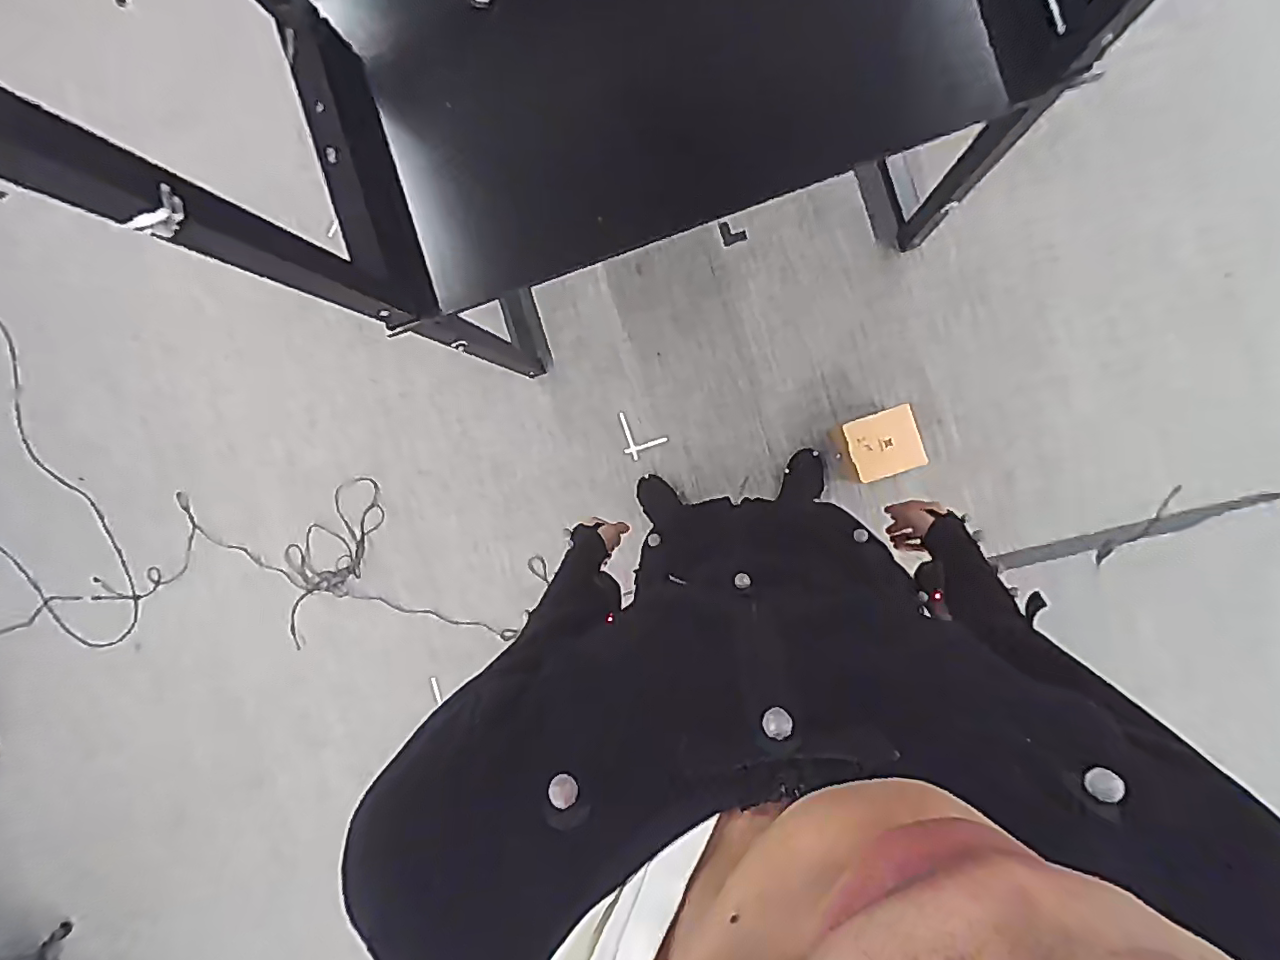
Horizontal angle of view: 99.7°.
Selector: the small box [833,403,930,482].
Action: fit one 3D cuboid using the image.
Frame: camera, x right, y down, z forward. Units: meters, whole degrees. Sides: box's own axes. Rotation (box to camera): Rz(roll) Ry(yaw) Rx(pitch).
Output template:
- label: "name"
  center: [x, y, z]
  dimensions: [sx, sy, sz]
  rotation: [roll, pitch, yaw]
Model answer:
- label: "small box"
  center: [0.649, -0.102, 1.470]
  dimensions: [0.179, 0.176, 0.168]
  rotation: [-19, 90, 10]
